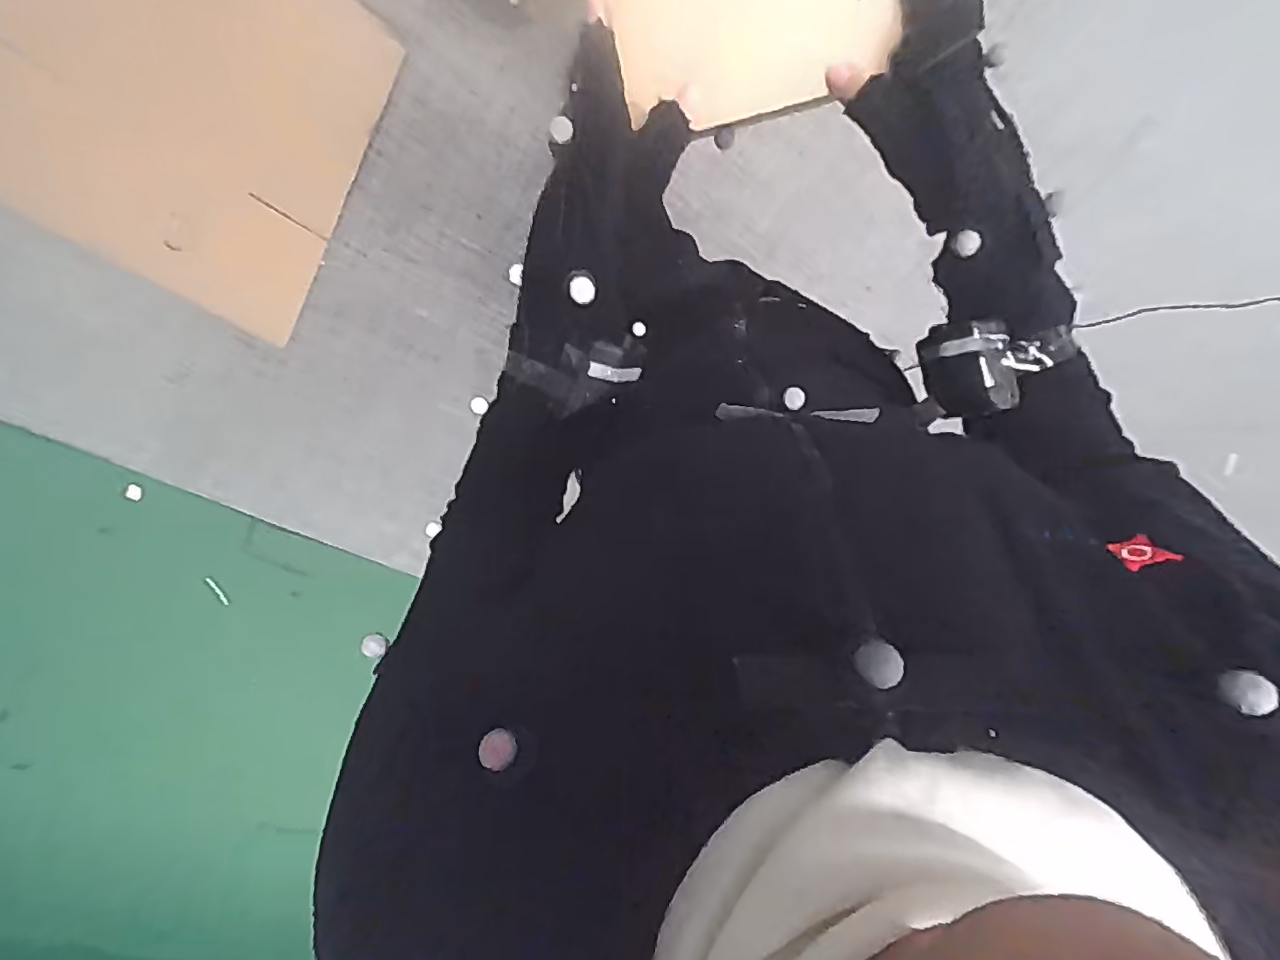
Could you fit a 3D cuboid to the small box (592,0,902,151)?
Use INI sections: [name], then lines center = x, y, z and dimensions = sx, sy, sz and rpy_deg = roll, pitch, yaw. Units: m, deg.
[small box]
center = 0.054, -0.350, 0.375
dimensions = 0.179, 0.176, 0.168
rpy_deg = -15, 116, 6
